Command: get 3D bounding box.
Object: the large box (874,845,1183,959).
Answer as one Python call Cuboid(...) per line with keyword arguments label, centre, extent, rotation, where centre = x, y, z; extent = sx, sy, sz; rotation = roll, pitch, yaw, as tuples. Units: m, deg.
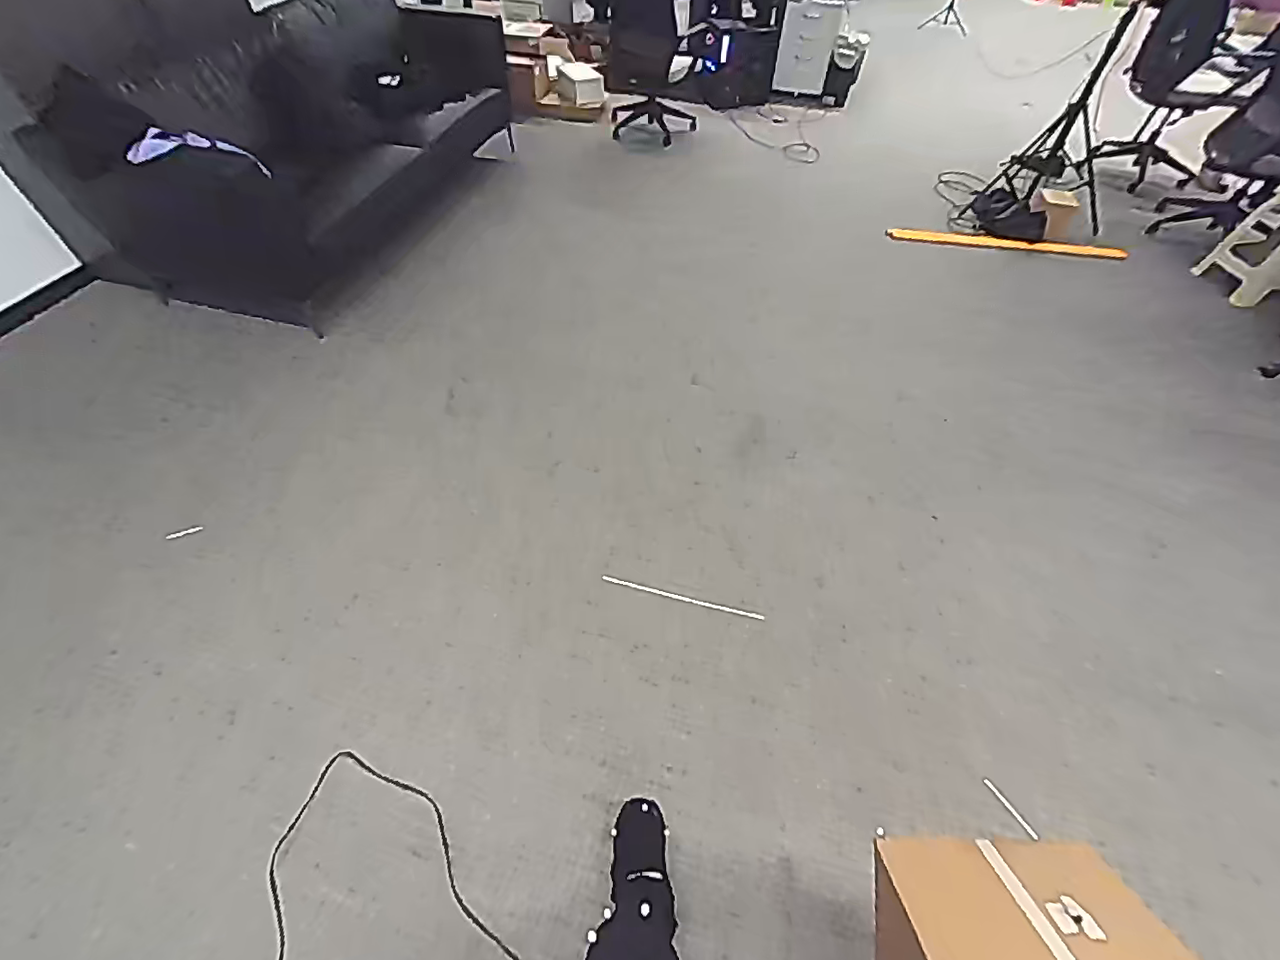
Cuboid(label="large box", centre=(0.512, 0.737, 0.651), extent=(0.320, 0.408, 0.320), rotation=(-2, 95, 5))
